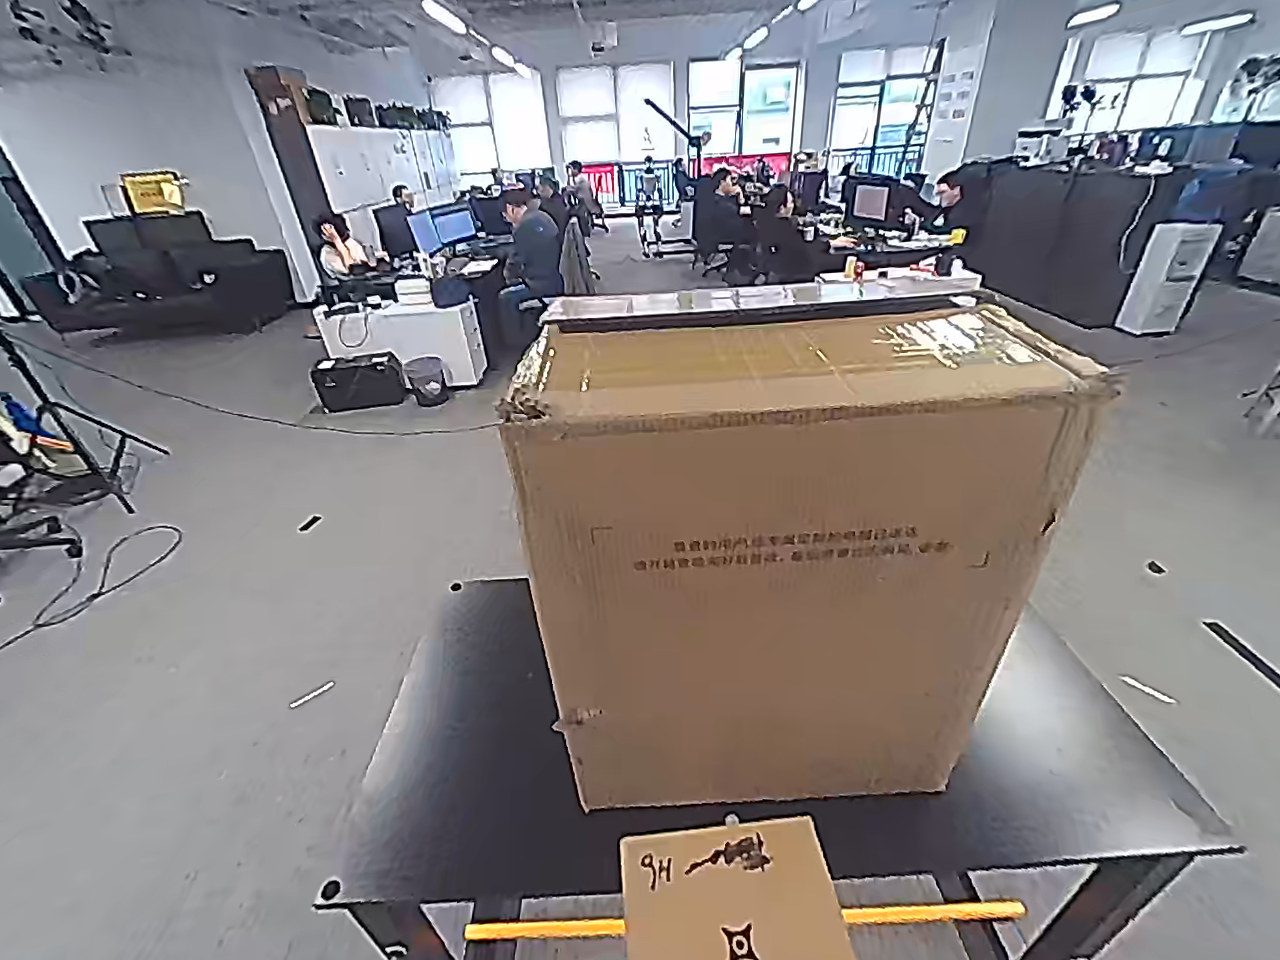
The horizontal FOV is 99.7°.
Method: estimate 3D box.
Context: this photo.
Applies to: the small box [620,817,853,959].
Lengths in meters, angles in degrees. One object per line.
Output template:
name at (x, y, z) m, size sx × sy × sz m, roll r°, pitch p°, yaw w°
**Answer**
small box at (0.073, 0.408, 0.440) m, size 0.168 × 0.176 × 0.179 m, roll -4°, pitch 40°, yaw -4°
